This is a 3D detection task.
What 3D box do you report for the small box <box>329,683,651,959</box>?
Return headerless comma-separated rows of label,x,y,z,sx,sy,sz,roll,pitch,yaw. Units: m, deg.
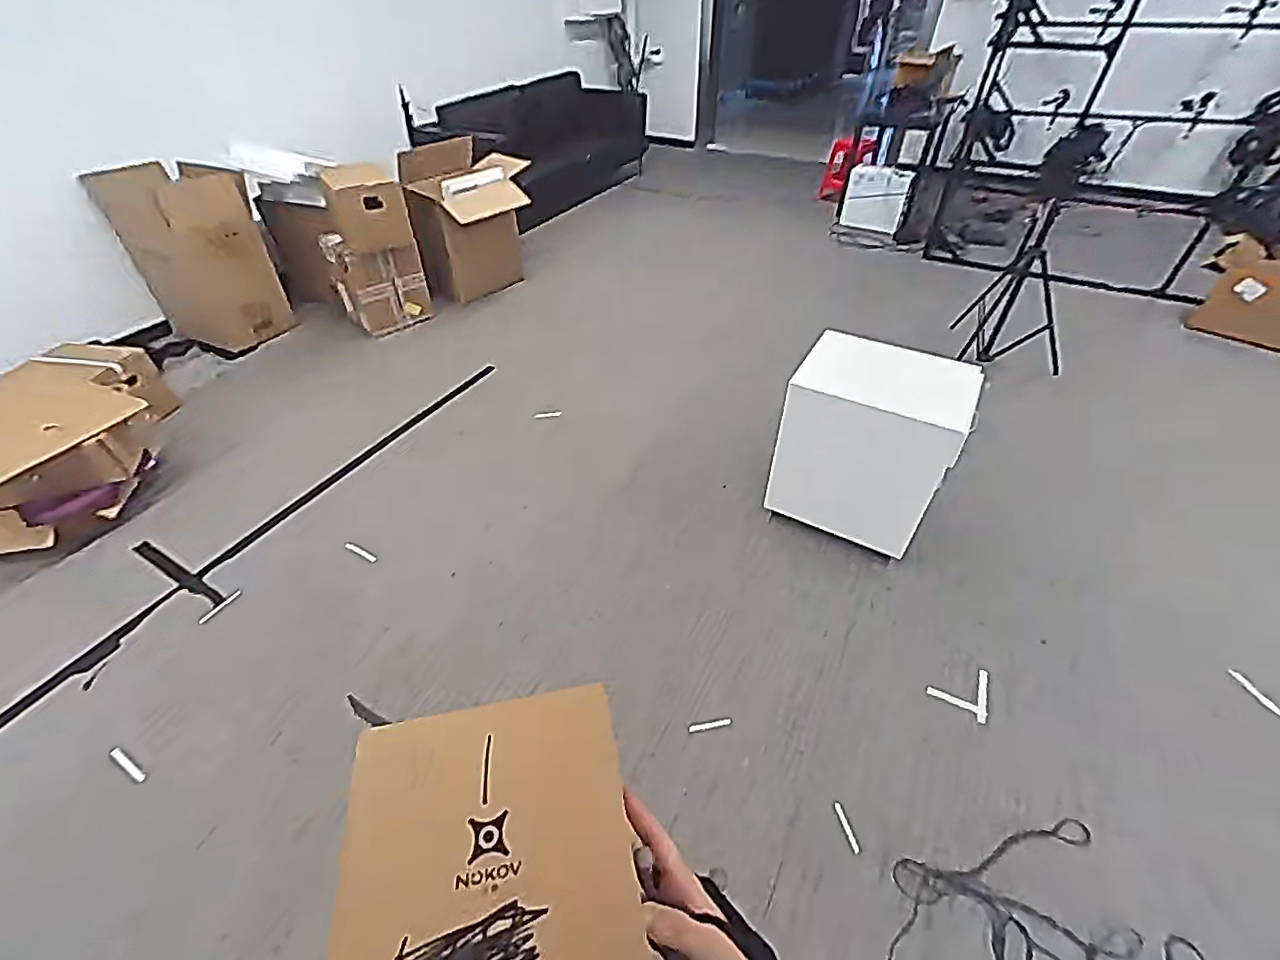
small box,-0.085,0.270,0.366,0.168,0.176,0.179,-8,45,-9
